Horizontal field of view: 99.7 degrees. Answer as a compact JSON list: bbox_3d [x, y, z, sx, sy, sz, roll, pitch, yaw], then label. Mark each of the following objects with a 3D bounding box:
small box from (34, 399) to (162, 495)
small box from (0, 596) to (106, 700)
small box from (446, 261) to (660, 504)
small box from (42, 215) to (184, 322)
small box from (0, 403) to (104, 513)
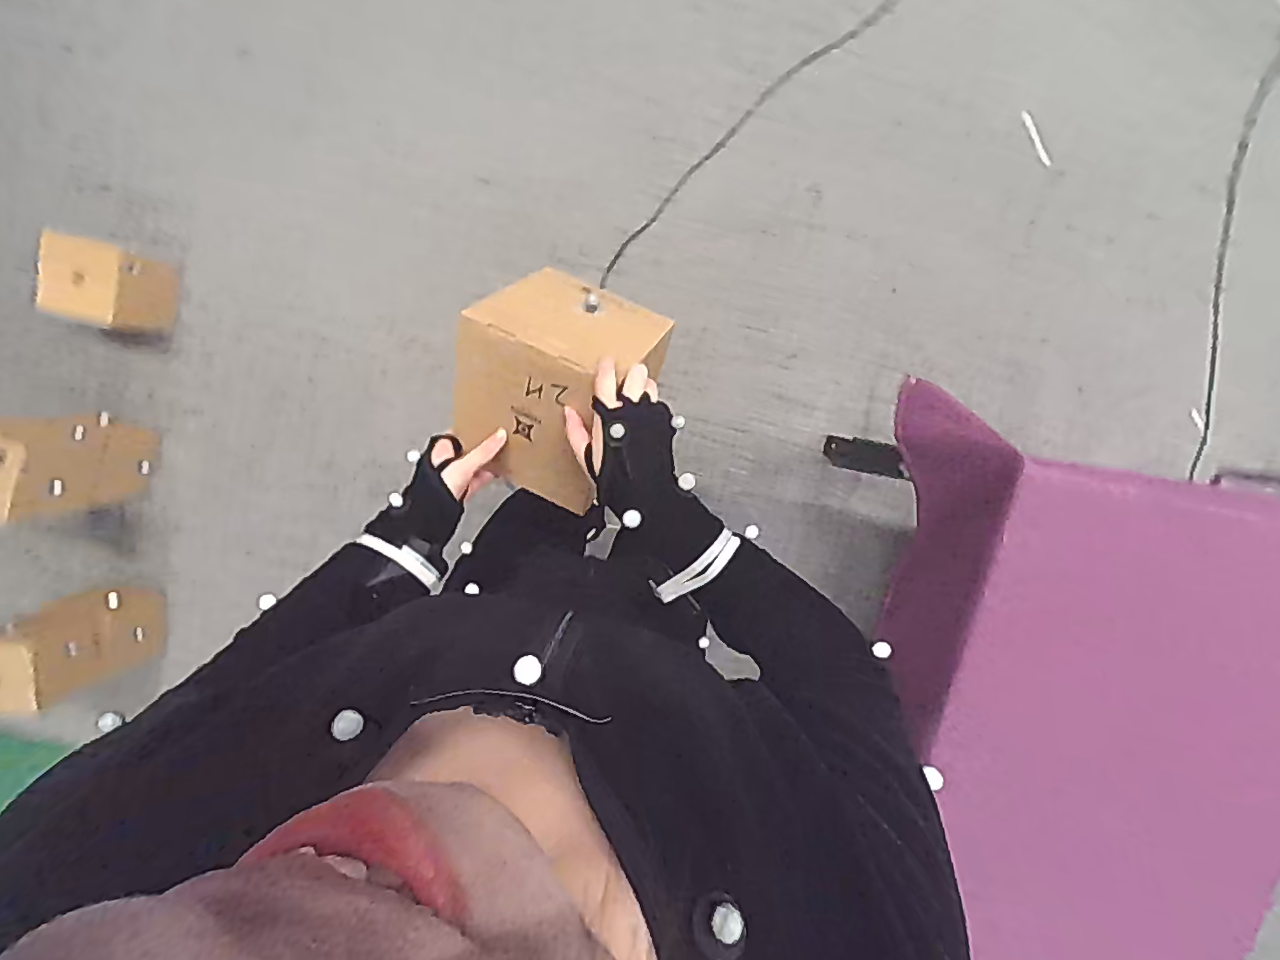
[{"bbox_3d":[-1.324,-0.086,1.315,0.168,0.176,0.179,22,98,-4],"label":"small box"},{"bbox_3d":[-1.369,0.373,1.226,0.179,0.176,0.168,5,99,-1],"label":"small box"},{"bbox_3d":[-0.093,-0.113,0.600,0.168,0.176,0.179,25,131,6],"label":"small box"},{"bbox_3d":[-1.211,-0.478,1.253,0.168,0.176,0.179,14,98,-4],"label":"small box"},{"bbox_3d":[-1.313,-0.056,1.153,0.168,0.176,0.179,23,99,-5],"label":"small box"}]
